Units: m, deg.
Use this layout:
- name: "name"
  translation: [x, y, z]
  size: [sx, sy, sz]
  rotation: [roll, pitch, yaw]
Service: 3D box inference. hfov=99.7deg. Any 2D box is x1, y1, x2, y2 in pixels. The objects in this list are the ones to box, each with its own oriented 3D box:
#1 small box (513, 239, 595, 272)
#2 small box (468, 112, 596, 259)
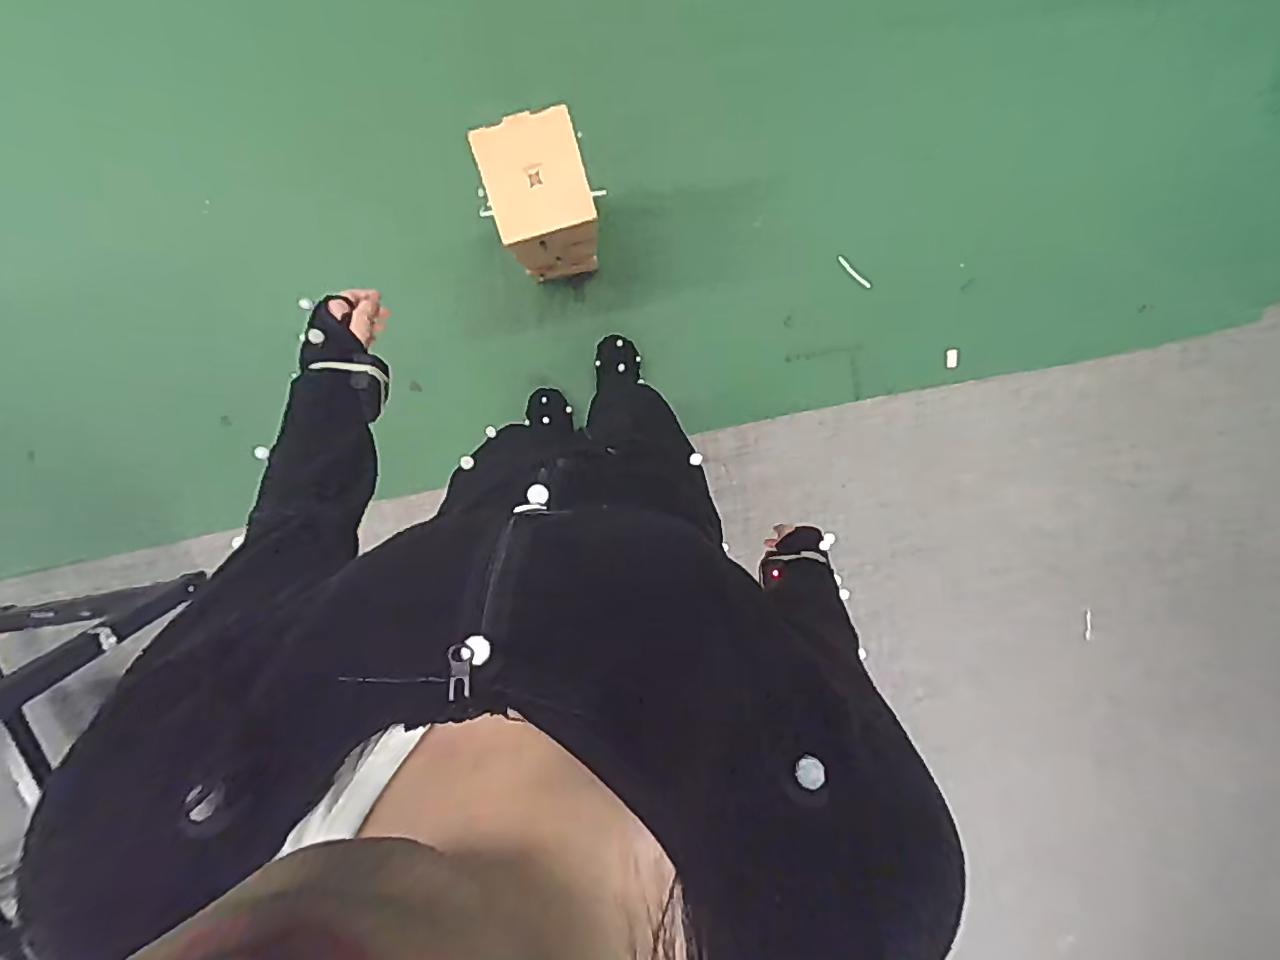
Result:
- name: "small box"
  translation: [-0.192, -0.545, 1.114]
  size: [0.168, 0.176, 0.179]
  rotation: [-14, 104, 0]
- name: "small box"
  translation: [-0.179, -0.504, 0.958]
  size: [0.168, 0.176, 0.179]
  rotation: [-16, 103, 0]
